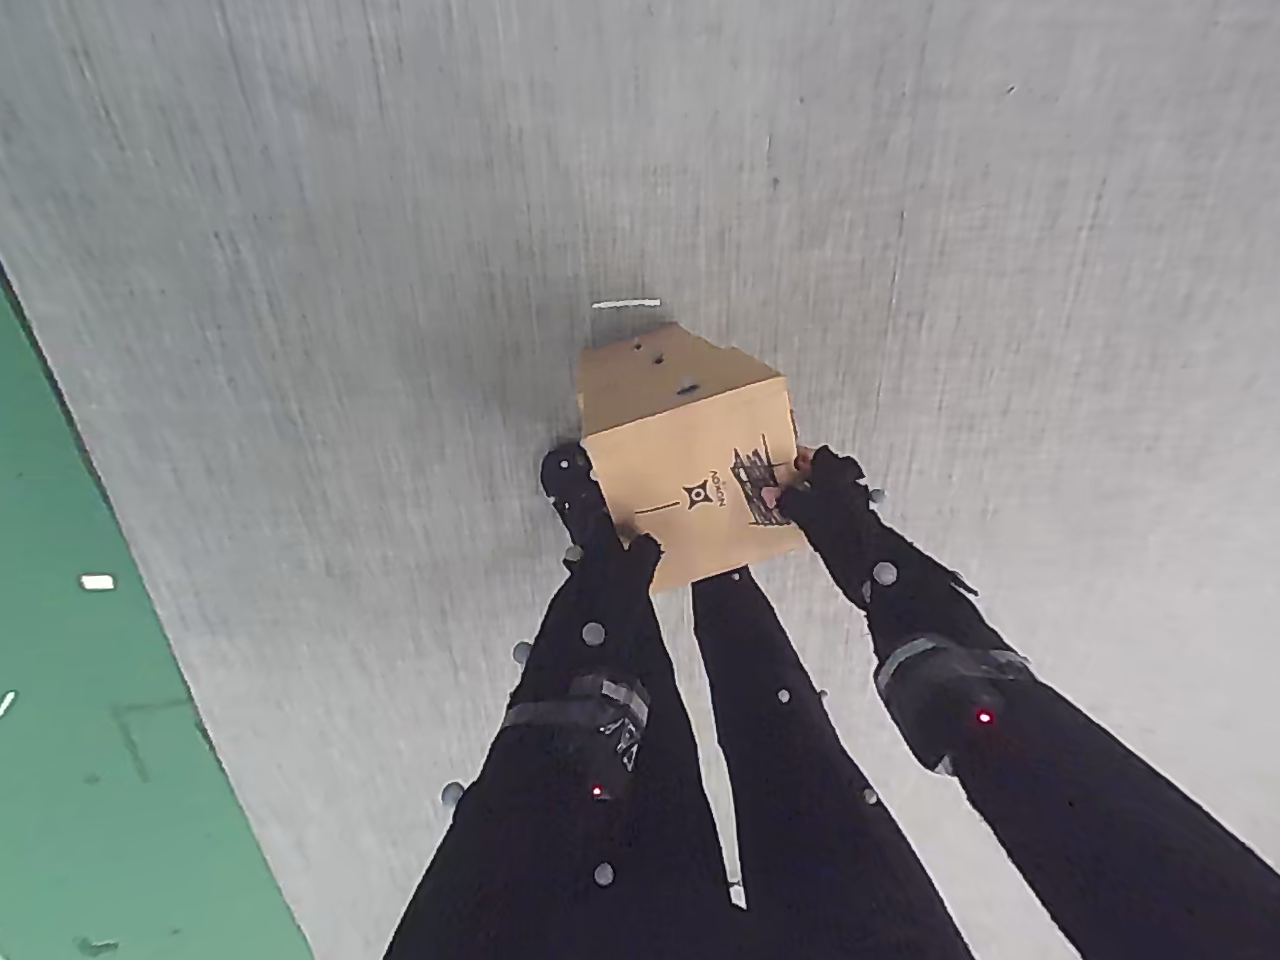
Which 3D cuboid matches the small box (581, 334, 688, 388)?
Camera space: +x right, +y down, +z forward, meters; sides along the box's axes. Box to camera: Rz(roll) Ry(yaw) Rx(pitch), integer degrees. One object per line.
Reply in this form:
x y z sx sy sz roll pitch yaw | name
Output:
0.012 -0.123 0.857 0.179 0.176 0.168 -16 112 2 | small box

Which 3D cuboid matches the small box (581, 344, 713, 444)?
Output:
0.028 -0.067 0.706 0.179 0.176 0.168 -18 113 2 | small box

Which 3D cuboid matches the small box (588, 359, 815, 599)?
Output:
0.053 -0.013 0.549 0.179 0.176 0.168 -17 111 3 | small box
